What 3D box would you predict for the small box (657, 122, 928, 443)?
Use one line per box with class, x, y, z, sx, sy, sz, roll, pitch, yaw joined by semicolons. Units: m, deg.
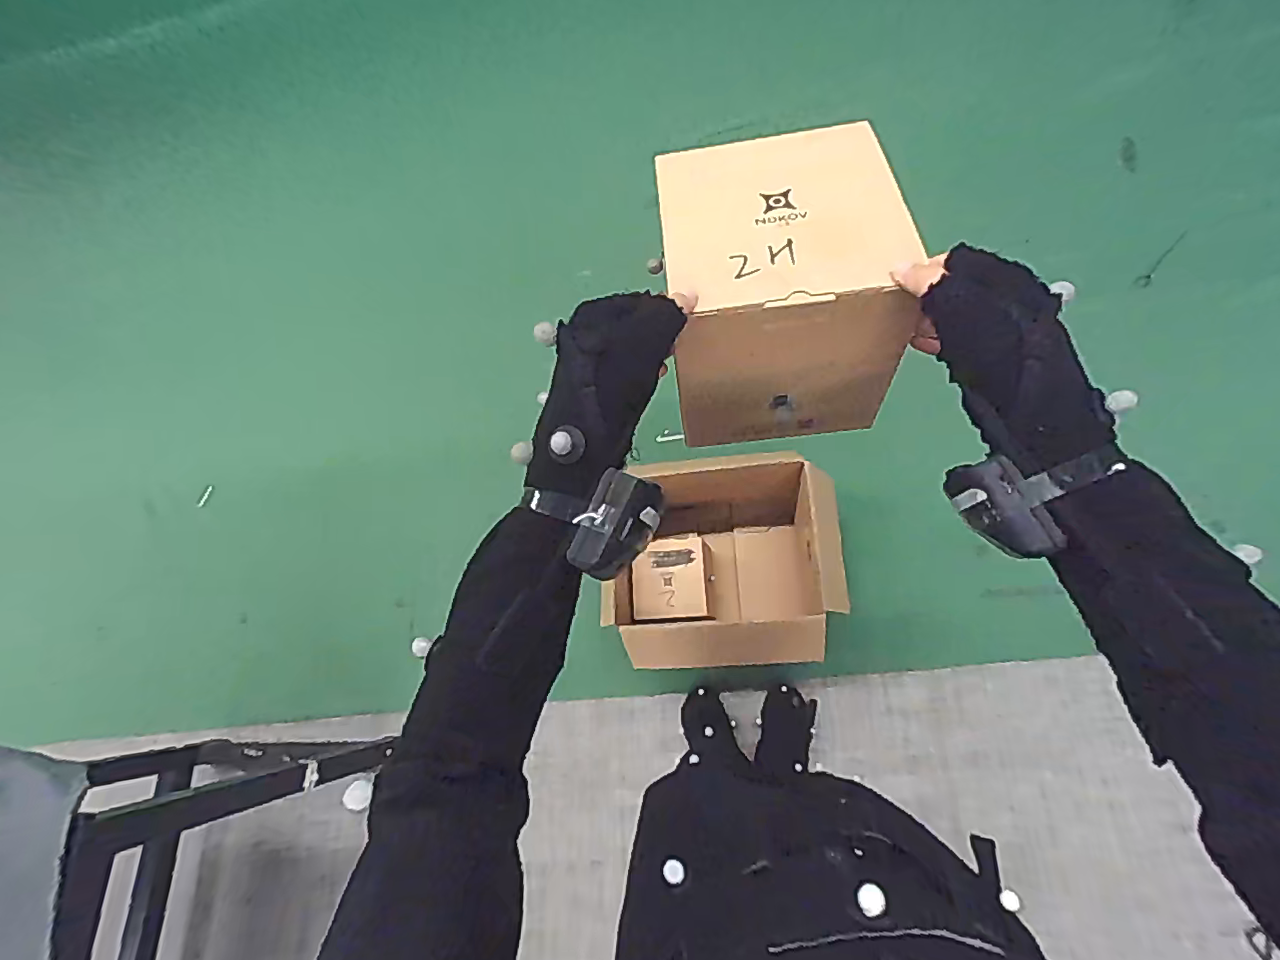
small box;0.104;-0.151;0.446;0.168;0.176;0.179;-5;61;6
